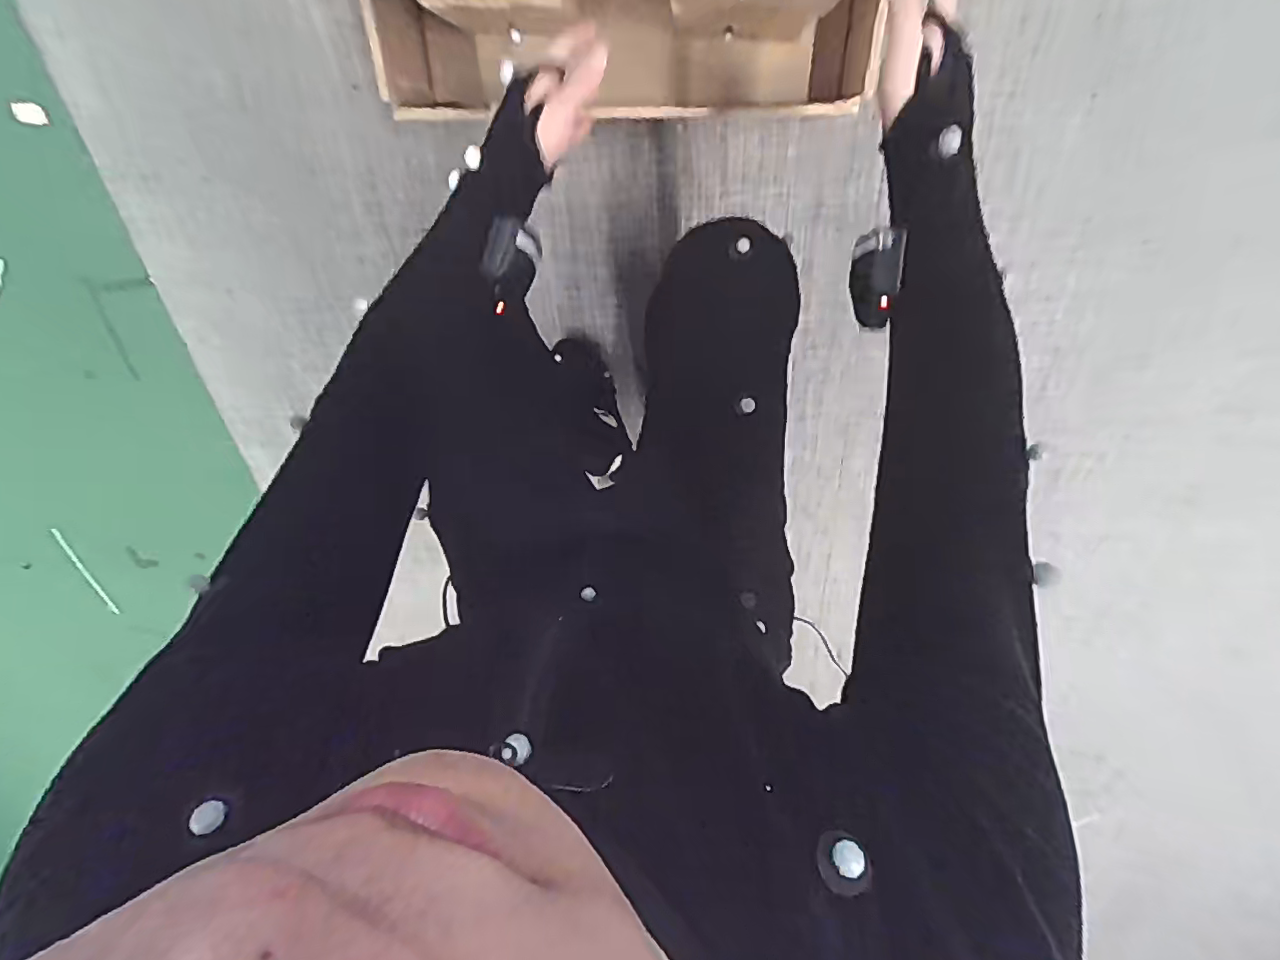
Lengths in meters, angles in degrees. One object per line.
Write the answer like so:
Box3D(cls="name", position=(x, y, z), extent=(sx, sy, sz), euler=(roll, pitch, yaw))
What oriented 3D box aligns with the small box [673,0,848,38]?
Box3D(cls="small box", position=(0.115, -0.538, 0.495), extent=(0.168, 0.176, 0.179), euler=(5, 120, 3))
